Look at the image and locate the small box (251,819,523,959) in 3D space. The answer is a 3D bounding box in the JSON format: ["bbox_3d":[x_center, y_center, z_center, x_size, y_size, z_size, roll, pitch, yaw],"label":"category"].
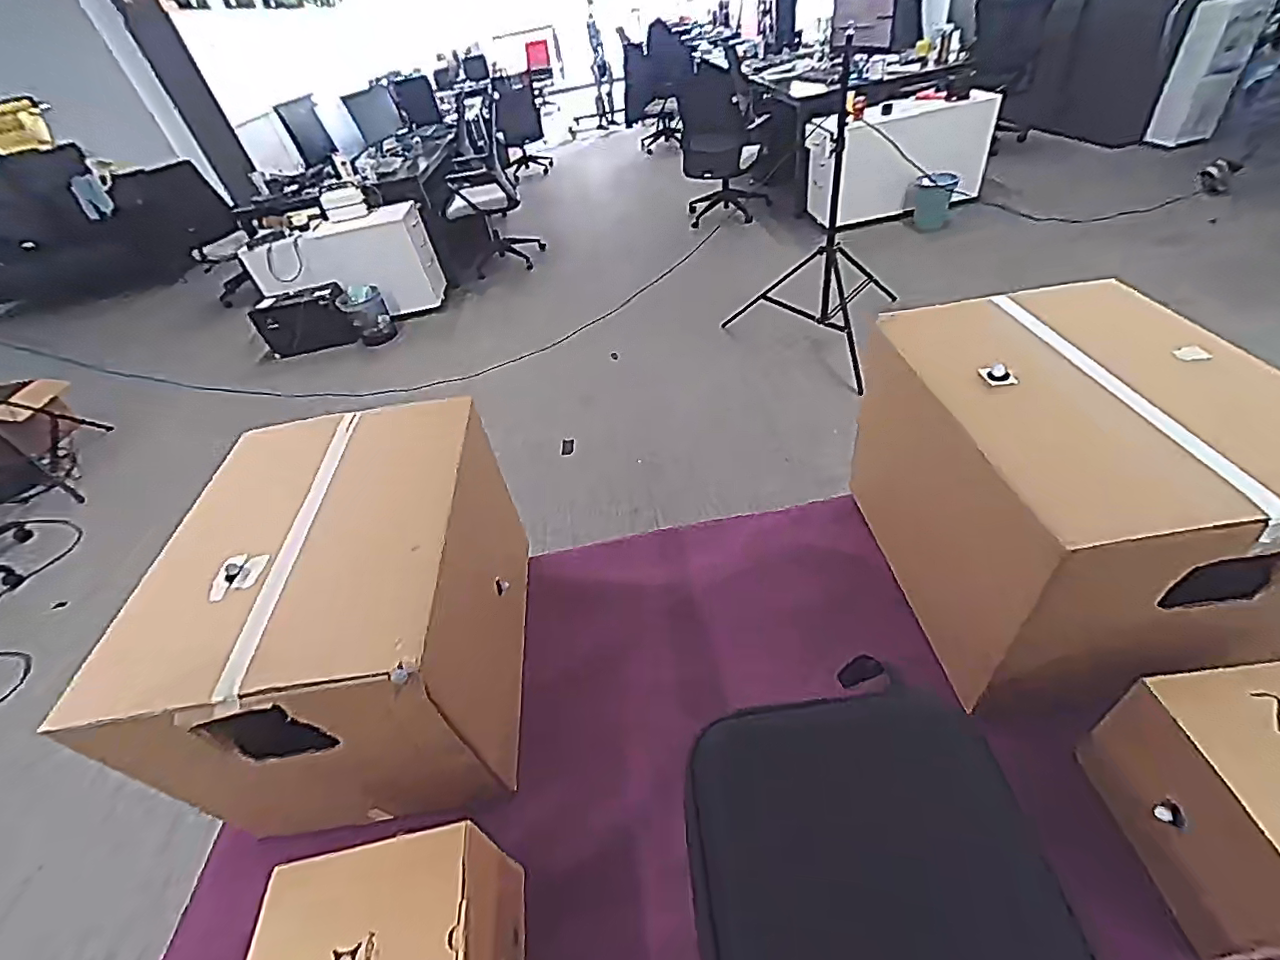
[{"bbox_3d":[-0.212,0.433,0.471,0.179,0.176,0.168,-13,41,-3],"label":"small box"}]

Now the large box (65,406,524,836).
[{"bbox_3d":[-0.336,0.164,0.689,0.320,0.320,0.408,-10,44,-1],"label":"large box"}]
